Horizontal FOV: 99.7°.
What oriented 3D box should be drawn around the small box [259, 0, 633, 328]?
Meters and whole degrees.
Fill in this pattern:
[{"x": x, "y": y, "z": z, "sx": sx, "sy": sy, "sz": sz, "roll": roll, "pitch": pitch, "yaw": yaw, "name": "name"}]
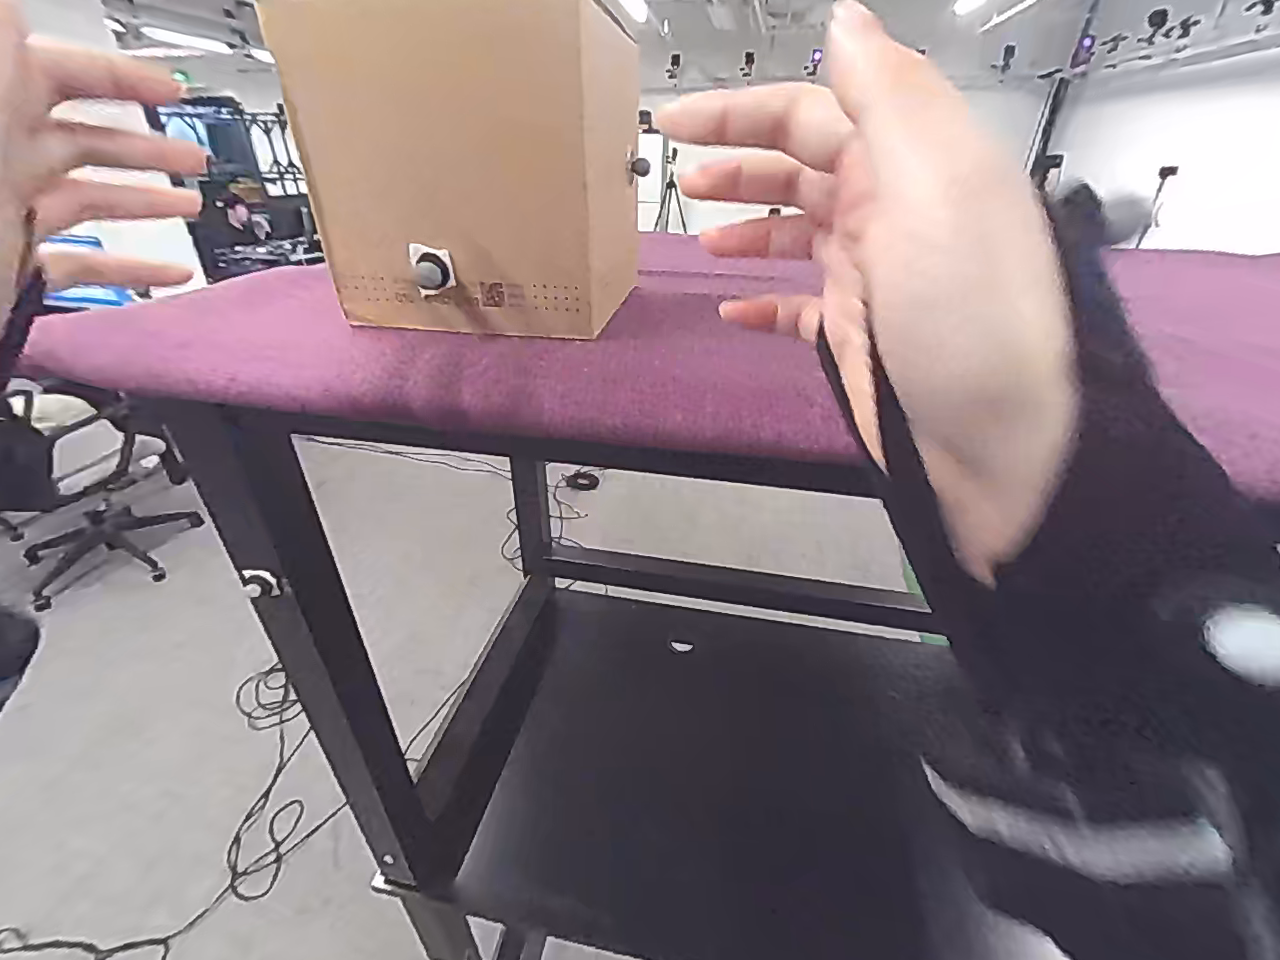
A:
[{"x": -0.098, "y": -0.210, "z": 0.359, "sx": 0.168, "sy": 0.176, "sz": 0.179, "roll": 3, "pitch": 32, "yaw": 7, "name": "small box"}]
